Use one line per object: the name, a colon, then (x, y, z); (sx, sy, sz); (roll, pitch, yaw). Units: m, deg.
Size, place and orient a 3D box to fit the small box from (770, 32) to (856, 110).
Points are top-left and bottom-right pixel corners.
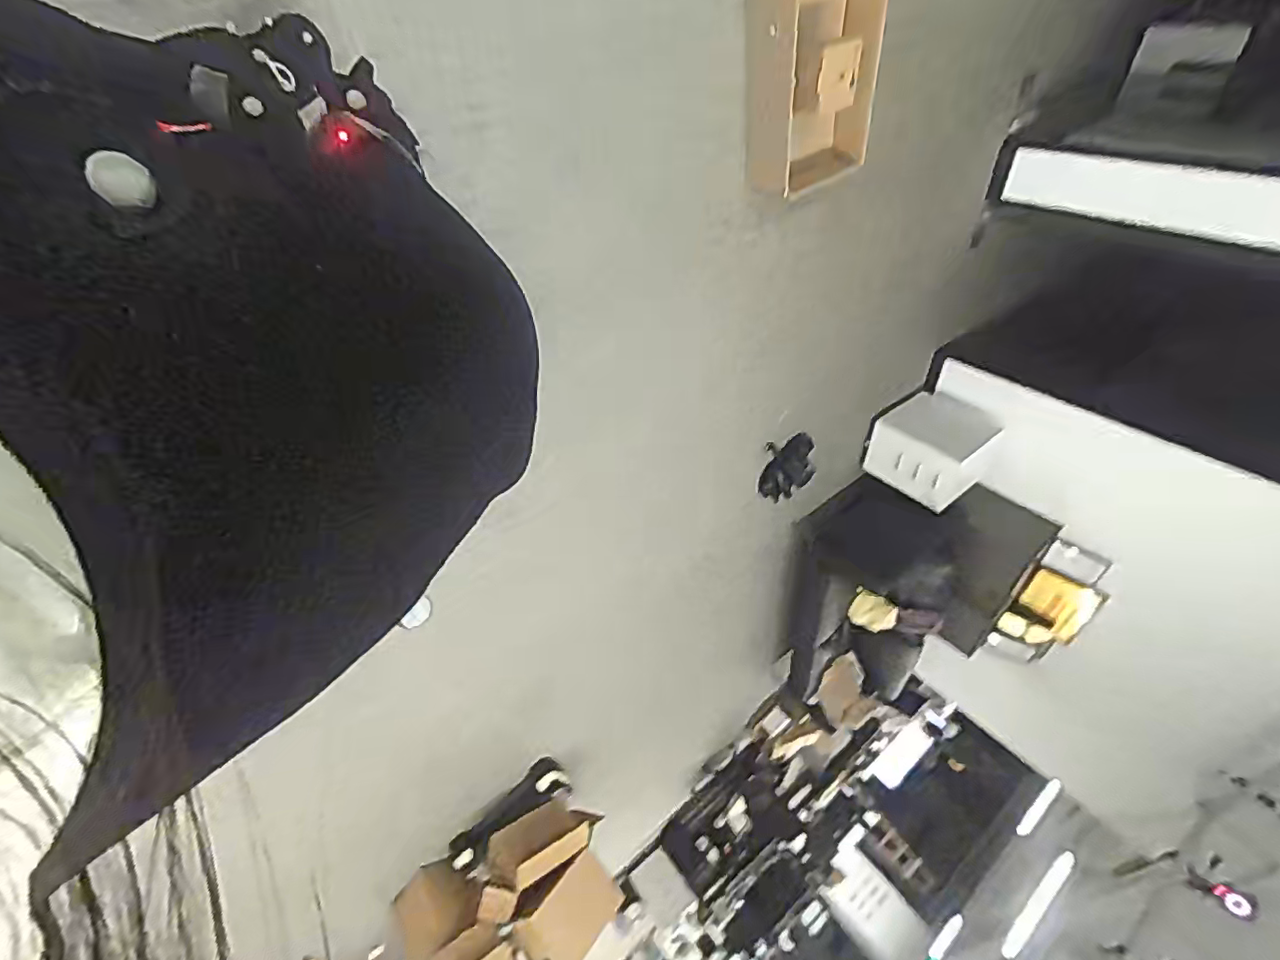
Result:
small box: (0.514, -1.234, 1.631); (0.179, 0.176, 0.168); (-31, 138, -23)
